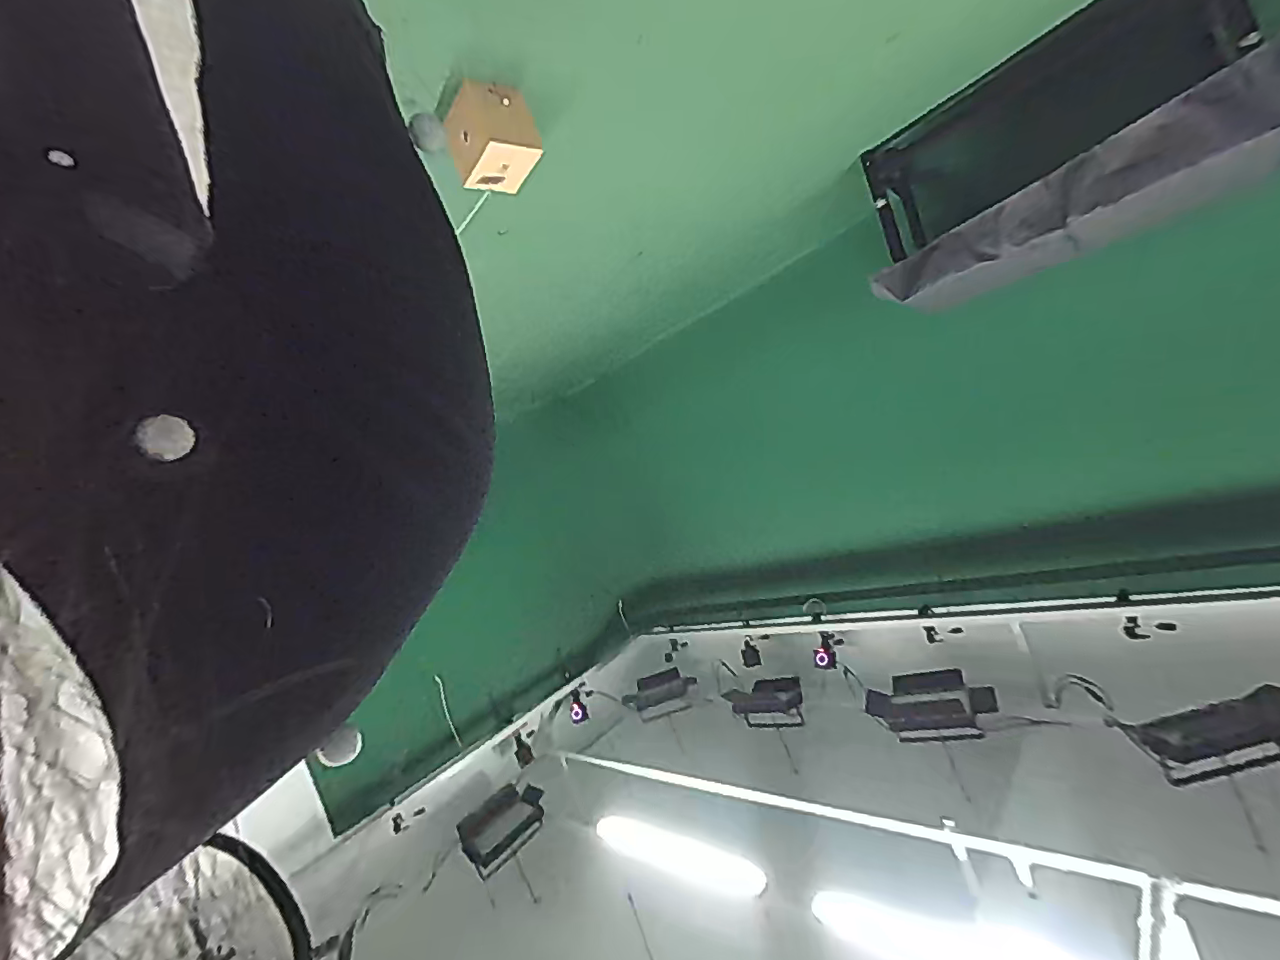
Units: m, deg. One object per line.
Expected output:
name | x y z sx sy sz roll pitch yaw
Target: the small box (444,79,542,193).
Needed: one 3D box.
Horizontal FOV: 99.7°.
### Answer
small box | -0.390 -0.888 1.410 0.168 0.176 0.179 -22 180 -42
